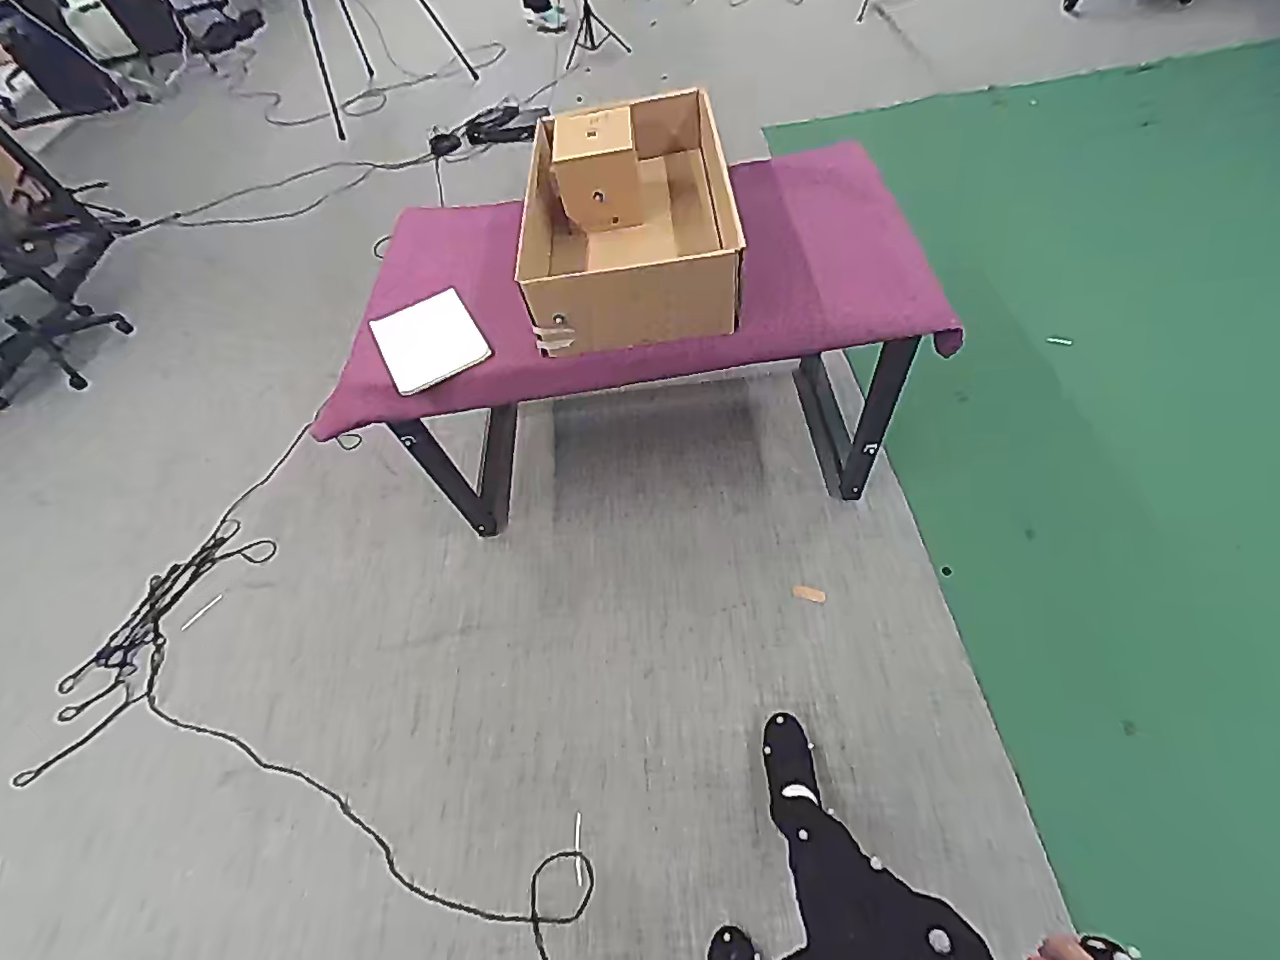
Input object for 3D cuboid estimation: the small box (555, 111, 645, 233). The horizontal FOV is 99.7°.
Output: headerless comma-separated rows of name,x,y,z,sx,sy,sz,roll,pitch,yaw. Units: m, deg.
small box,-0.082,-0.668,1.191,0.168,0.176,0.179,-6,58,6
